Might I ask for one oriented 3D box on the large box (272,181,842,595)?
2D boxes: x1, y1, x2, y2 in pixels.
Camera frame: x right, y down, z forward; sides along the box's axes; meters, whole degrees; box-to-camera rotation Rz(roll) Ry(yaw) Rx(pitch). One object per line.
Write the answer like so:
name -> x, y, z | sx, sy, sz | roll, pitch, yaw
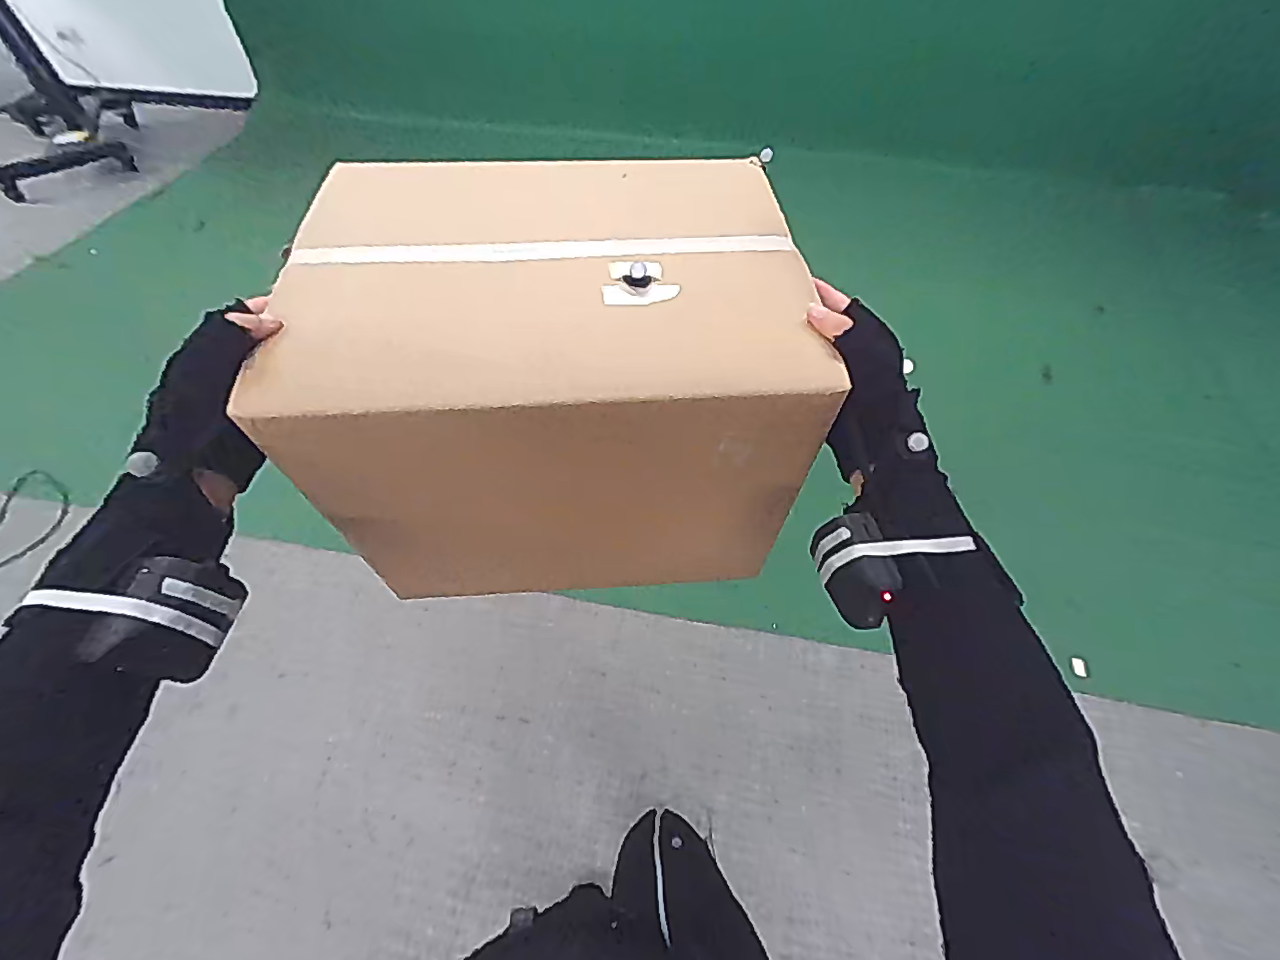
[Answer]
large box -> -0.069, -0.089, 0.578 | 0.408, 0.320, 0.320 | -2, 56, -5
